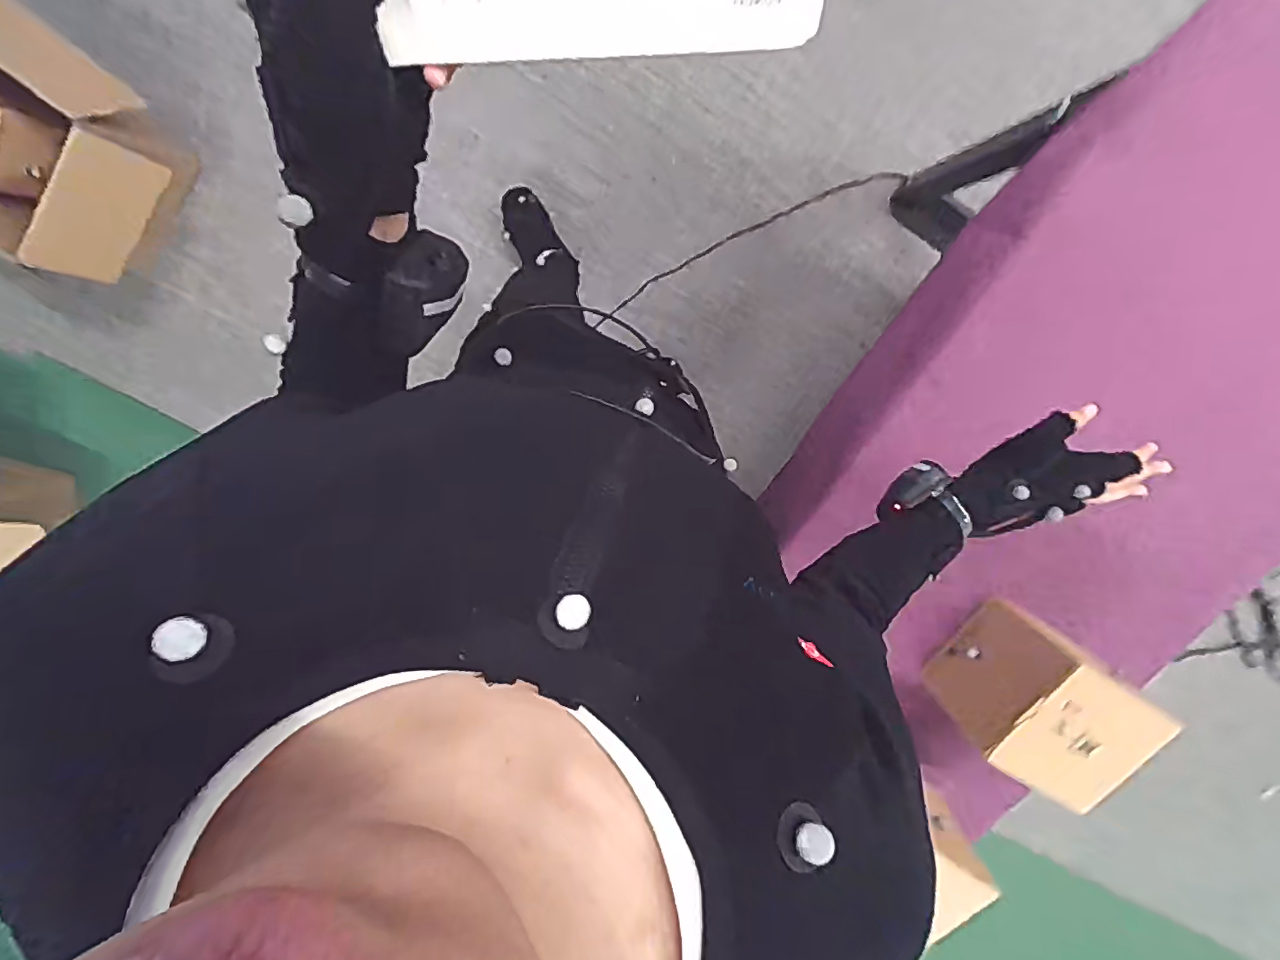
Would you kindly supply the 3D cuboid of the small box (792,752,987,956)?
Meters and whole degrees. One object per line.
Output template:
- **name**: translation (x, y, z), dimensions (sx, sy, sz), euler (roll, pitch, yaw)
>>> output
- **small box**: translation (0.365, 0.558, 0.824), dimensions (0.179, 0.176, 0.168), euler (36, 103, -12)

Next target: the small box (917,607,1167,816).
- **small box**: translation (0.534, 0.307, 0.746), dimensions (0.179, 0.176, 0.168), euler (32, 104, -9)
